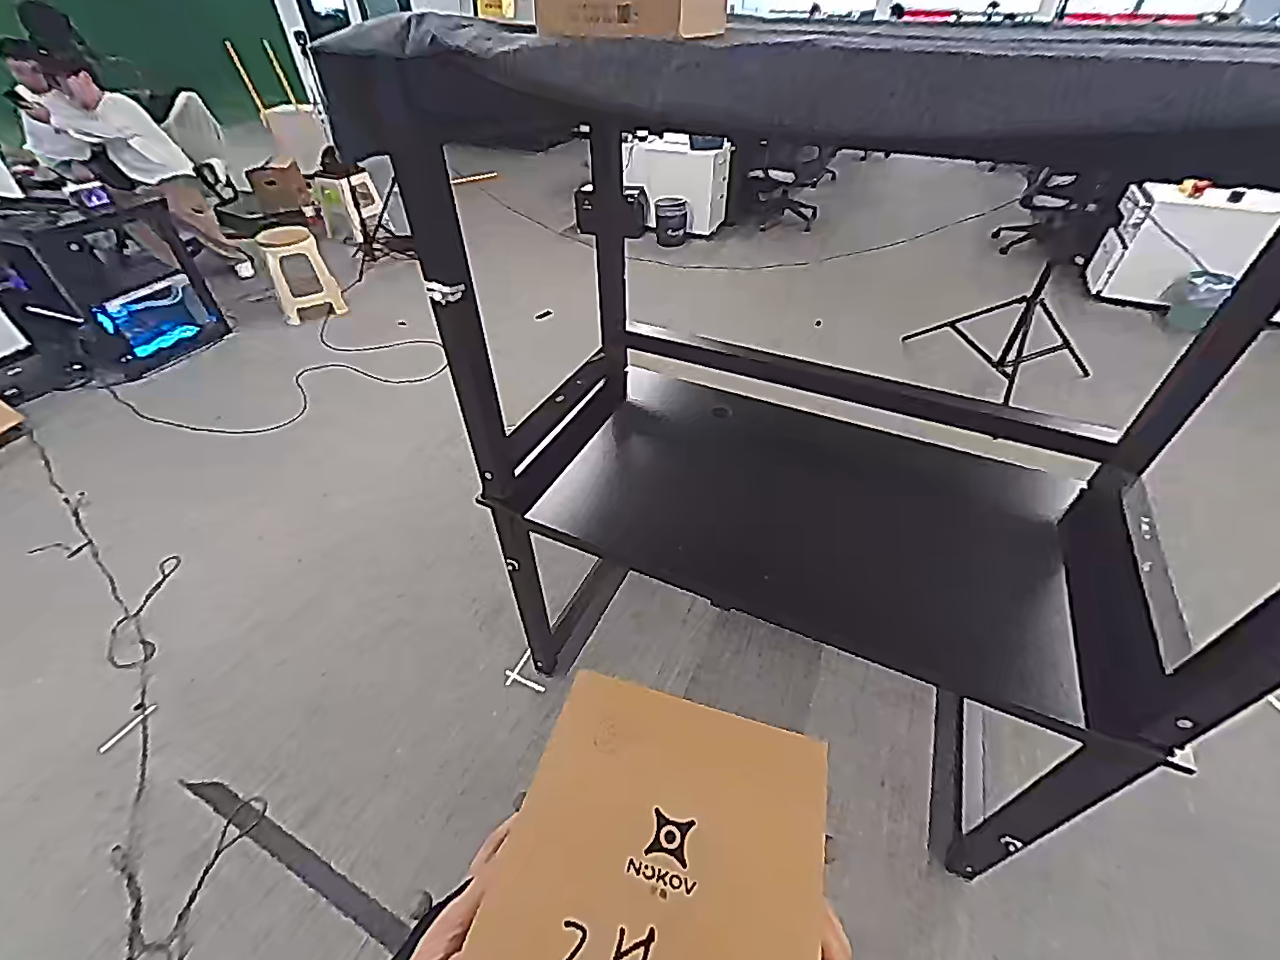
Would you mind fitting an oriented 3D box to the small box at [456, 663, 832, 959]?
[{"bbox_3d":[0.012,0.252,0.336,0.168,0.176,0.179,12,43,11],"label":"small box"}]

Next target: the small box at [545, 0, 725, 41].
[{"bbox_3d":[0.000,-0.572,0.565,0.168,0.176,0.179,15,44,15],"label":"small box"}]
